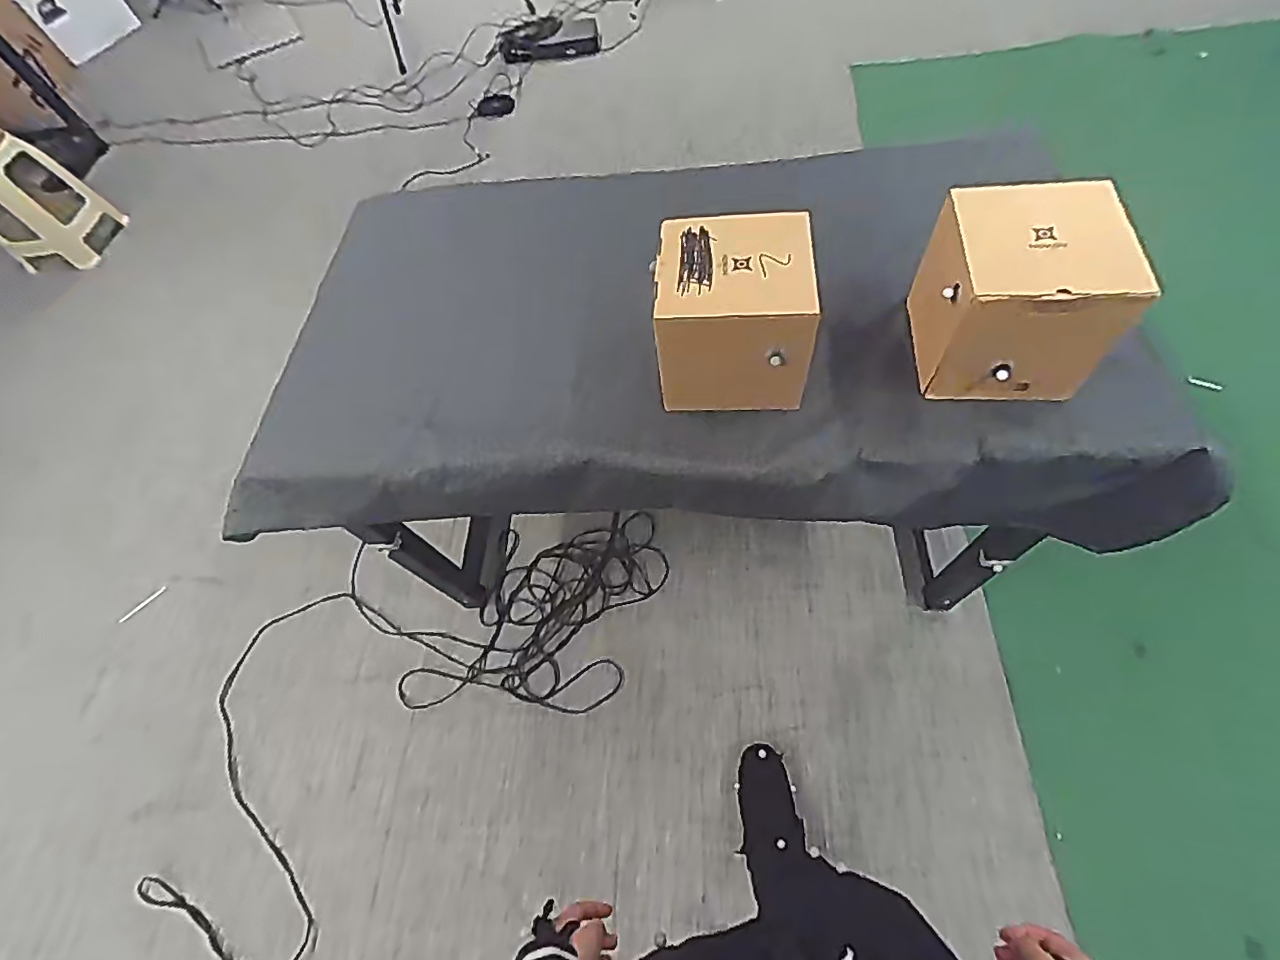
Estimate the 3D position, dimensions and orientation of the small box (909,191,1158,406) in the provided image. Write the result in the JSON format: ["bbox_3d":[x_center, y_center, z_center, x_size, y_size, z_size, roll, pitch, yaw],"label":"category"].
[{"bbox_3d":[0.435,-0.209,0.639,0.168,0.176,0.179,2,61,10],"label":"small box"}]
